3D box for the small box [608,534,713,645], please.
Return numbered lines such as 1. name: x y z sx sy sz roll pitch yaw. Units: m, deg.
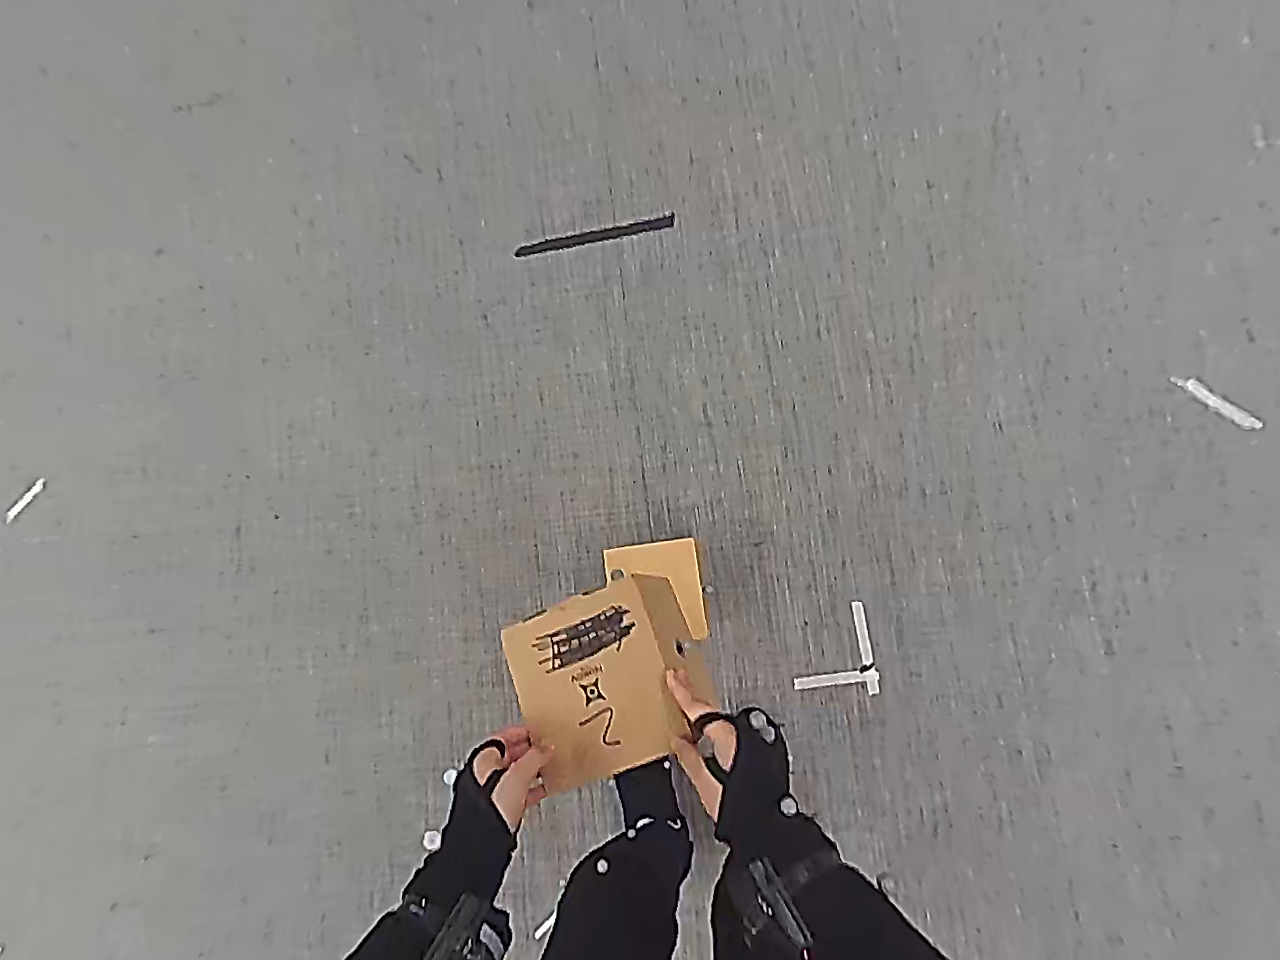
1. small box: 0.042 0.201 1.020 0.168 0.176 0.179 -9 83 6
